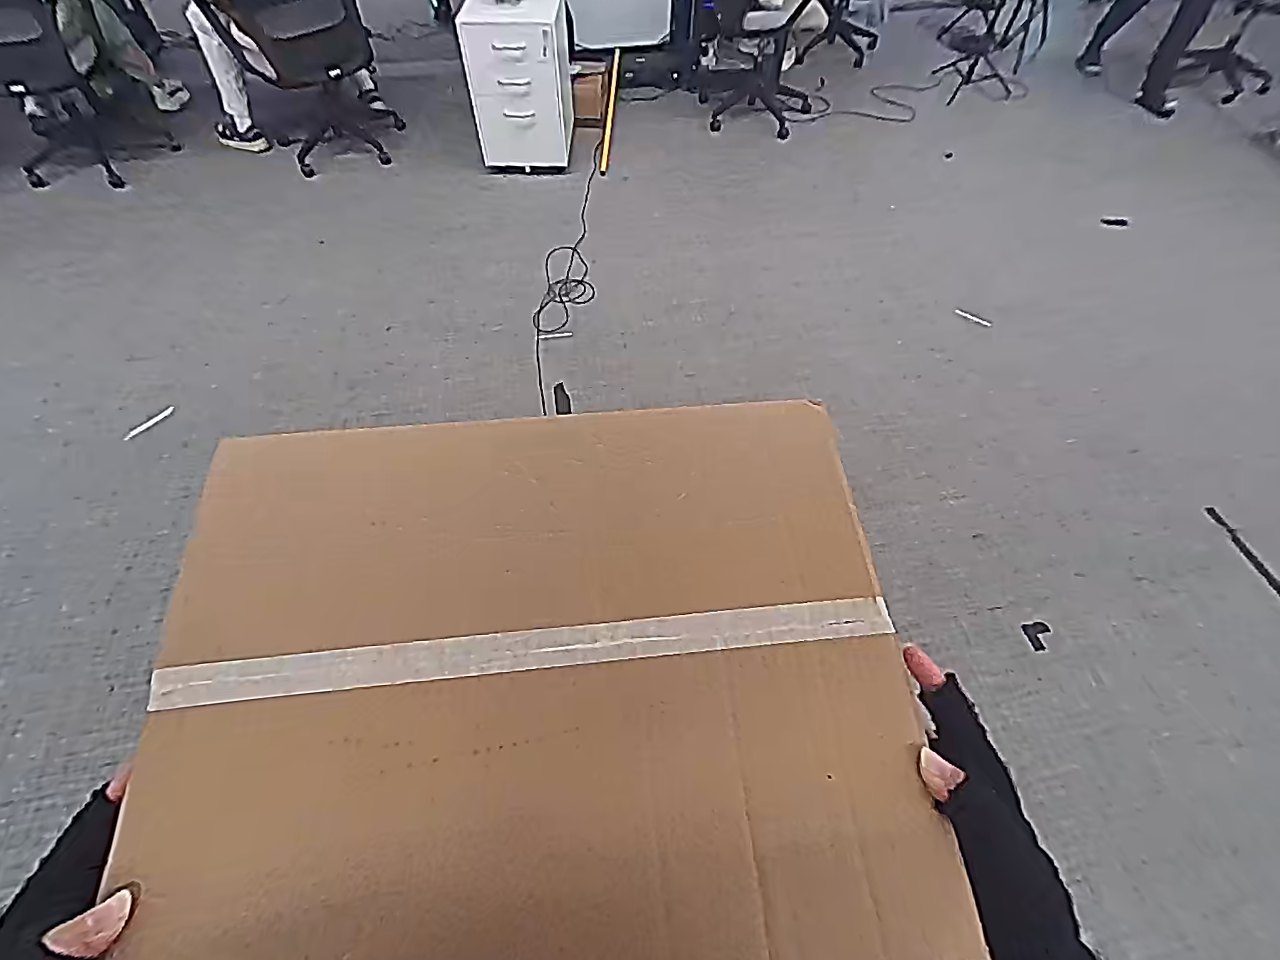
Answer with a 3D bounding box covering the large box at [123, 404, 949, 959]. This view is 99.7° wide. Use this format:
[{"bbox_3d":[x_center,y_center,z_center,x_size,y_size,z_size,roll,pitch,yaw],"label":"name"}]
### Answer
[{"bbox_3d":[-0.062,0.163,0.453,0.408,0.320,0.320,-4,65,-4],"label":"large box"}]
